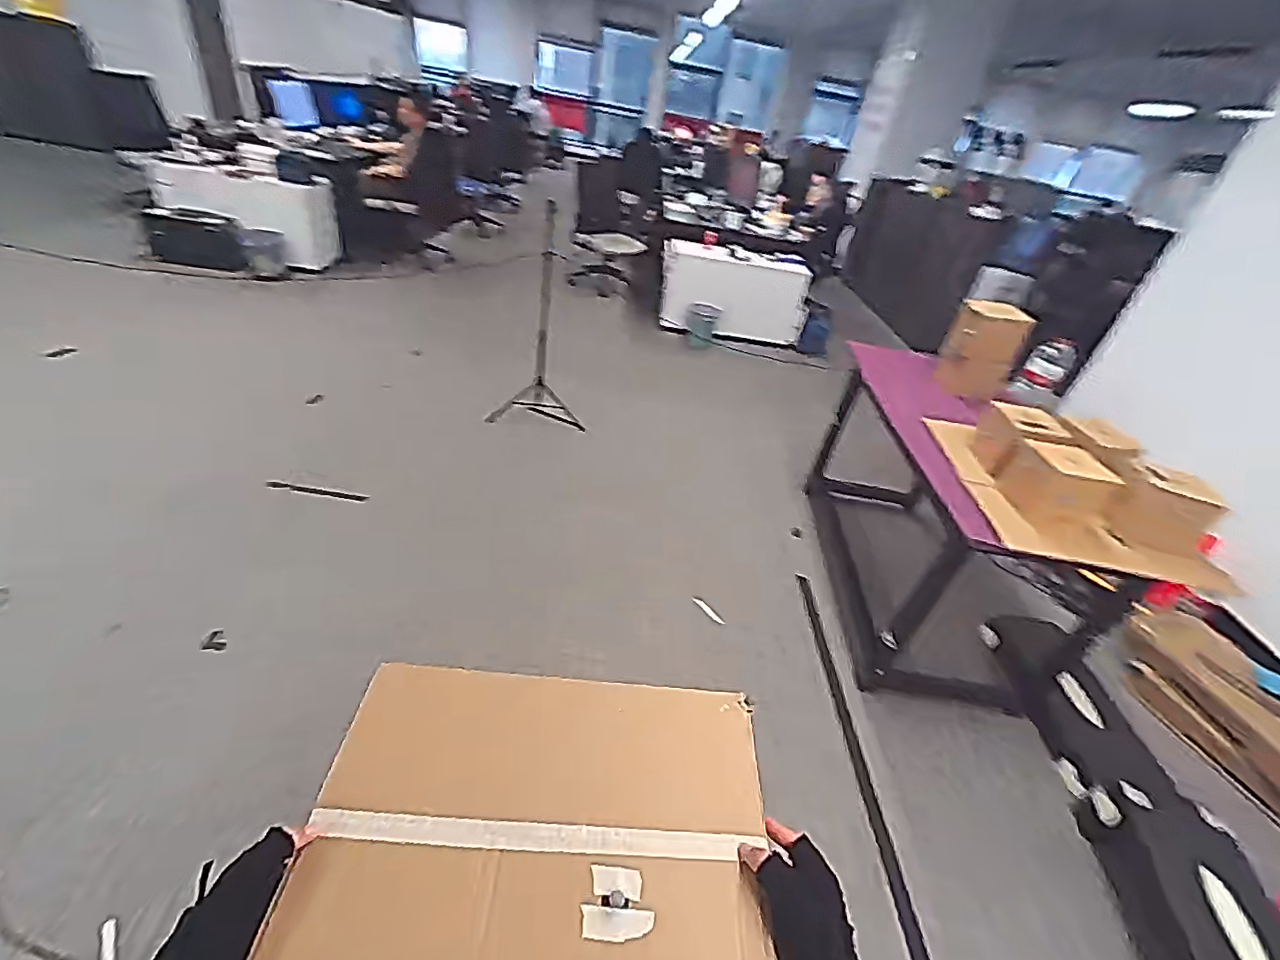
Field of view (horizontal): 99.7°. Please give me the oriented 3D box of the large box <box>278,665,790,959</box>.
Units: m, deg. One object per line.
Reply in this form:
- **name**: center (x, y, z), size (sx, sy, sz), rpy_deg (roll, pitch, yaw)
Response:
- **large box**: center (-0.092, 0.435, 0.582), size (0.408, 0.320, 0.320), rpy_deg (7, 39, -3)
